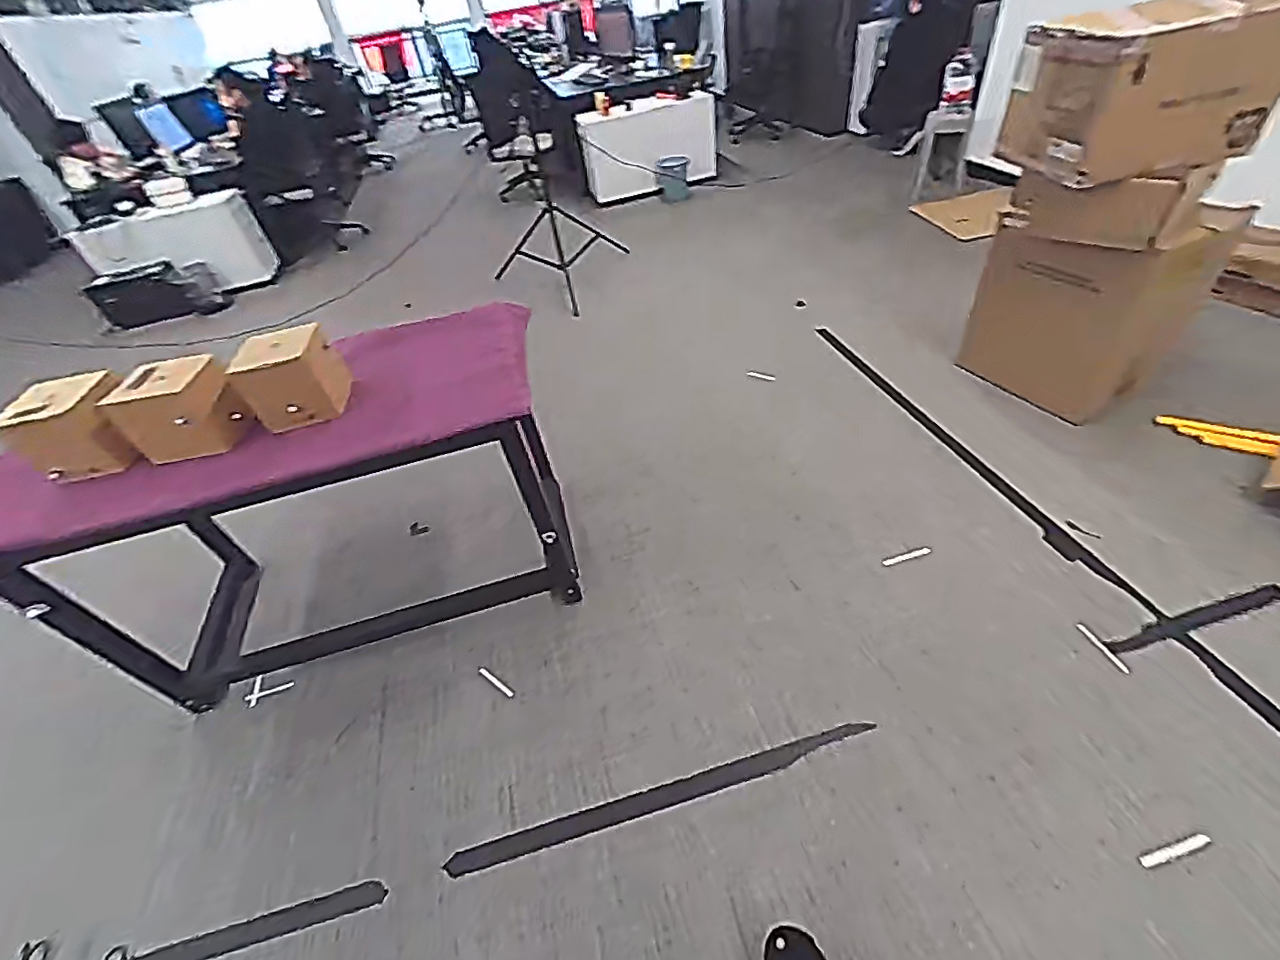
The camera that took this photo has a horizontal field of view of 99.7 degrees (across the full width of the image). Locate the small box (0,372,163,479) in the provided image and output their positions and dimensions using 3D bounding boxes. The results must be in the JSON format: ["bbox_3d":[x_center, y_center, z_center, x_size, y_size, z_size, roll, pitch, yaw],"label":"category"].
[{"bbox_3d":[-1.267,-0.118,1.245,0.168,0.176,0.179,-11,43,-2],"label":"small box"}]

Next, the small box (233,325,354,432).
[{"bbox_3d":[-0.807,-0.241,1.283,0.168,0.176,0.179,-15,43,-4],"label":"small box"}]
